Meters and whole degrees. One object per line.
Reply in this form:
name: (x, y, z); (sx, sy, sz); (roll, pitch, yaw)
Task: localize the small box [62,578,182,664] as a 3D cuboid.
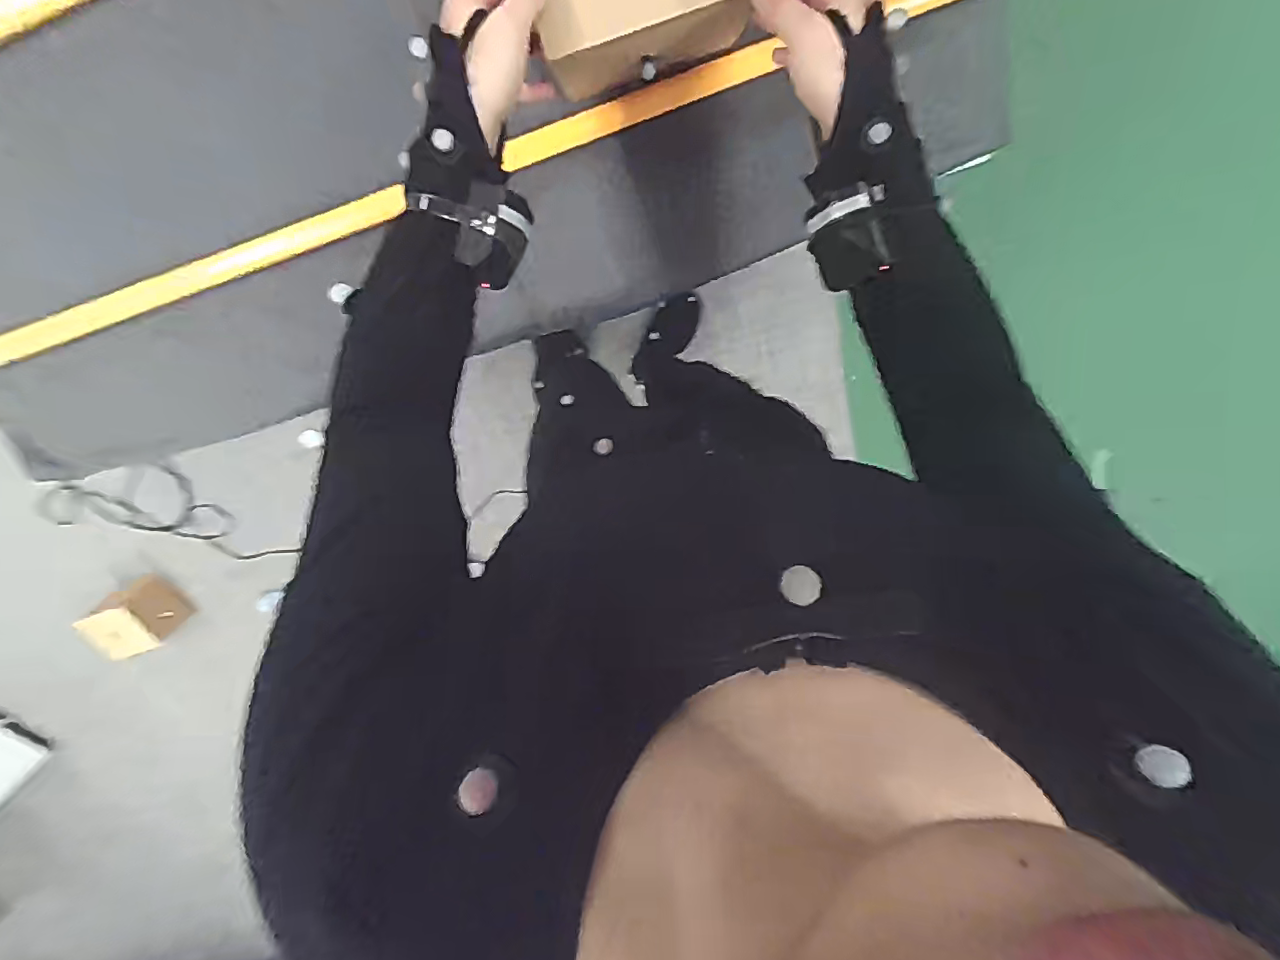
small box: (-1.565, 0.424, 1.653); (0.179, 0.176, 0.168); (-19, 116, 9)
